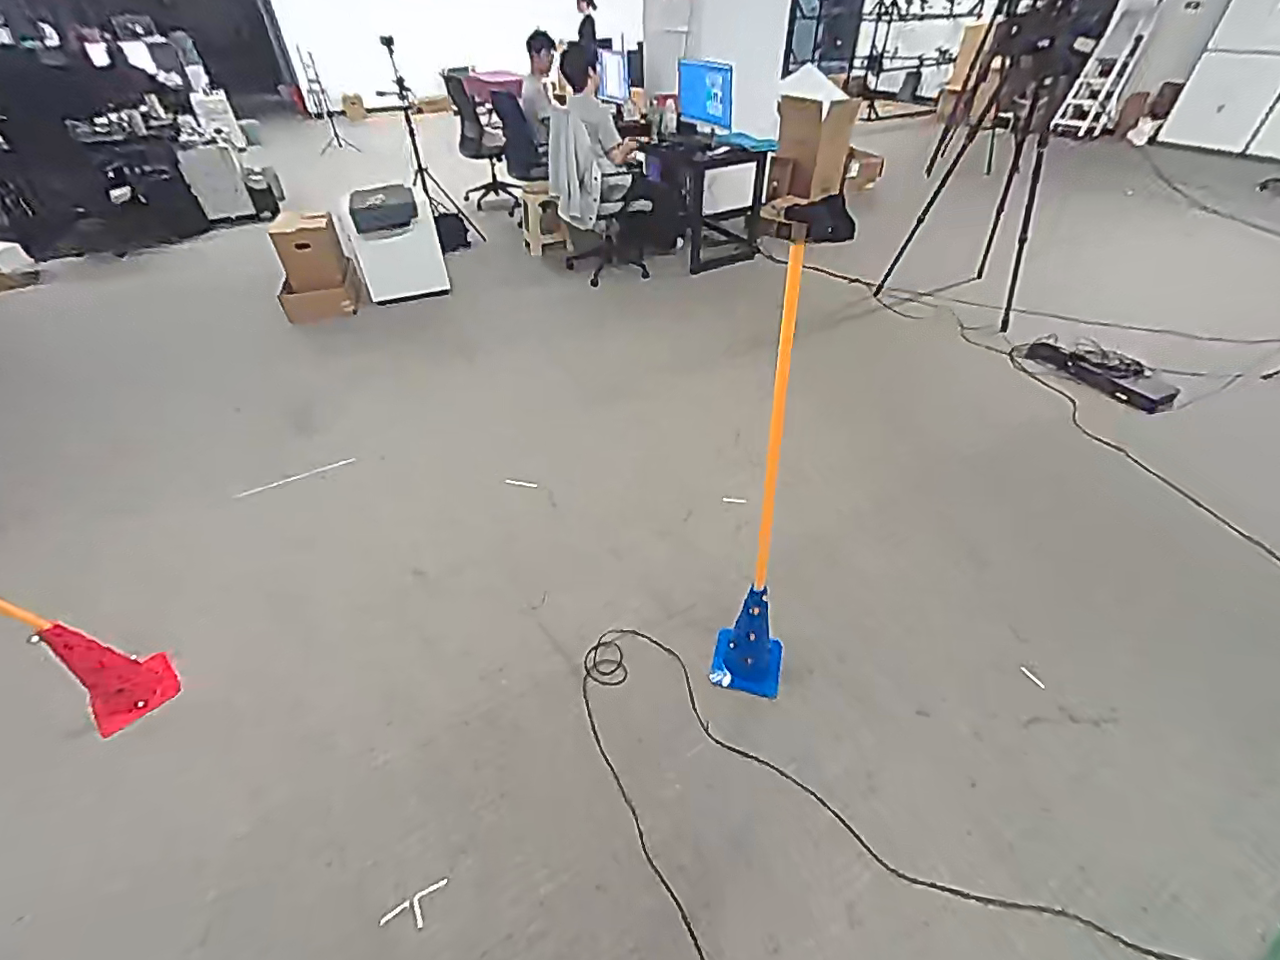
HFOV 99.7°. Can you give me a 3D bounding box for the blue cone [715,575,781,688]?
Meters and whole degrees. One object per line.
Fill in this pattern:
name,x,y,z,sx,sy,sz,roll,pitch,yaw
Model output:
blue cone,0.323,0.405,1.530,0.192,0.380,0.193,8,40,12
